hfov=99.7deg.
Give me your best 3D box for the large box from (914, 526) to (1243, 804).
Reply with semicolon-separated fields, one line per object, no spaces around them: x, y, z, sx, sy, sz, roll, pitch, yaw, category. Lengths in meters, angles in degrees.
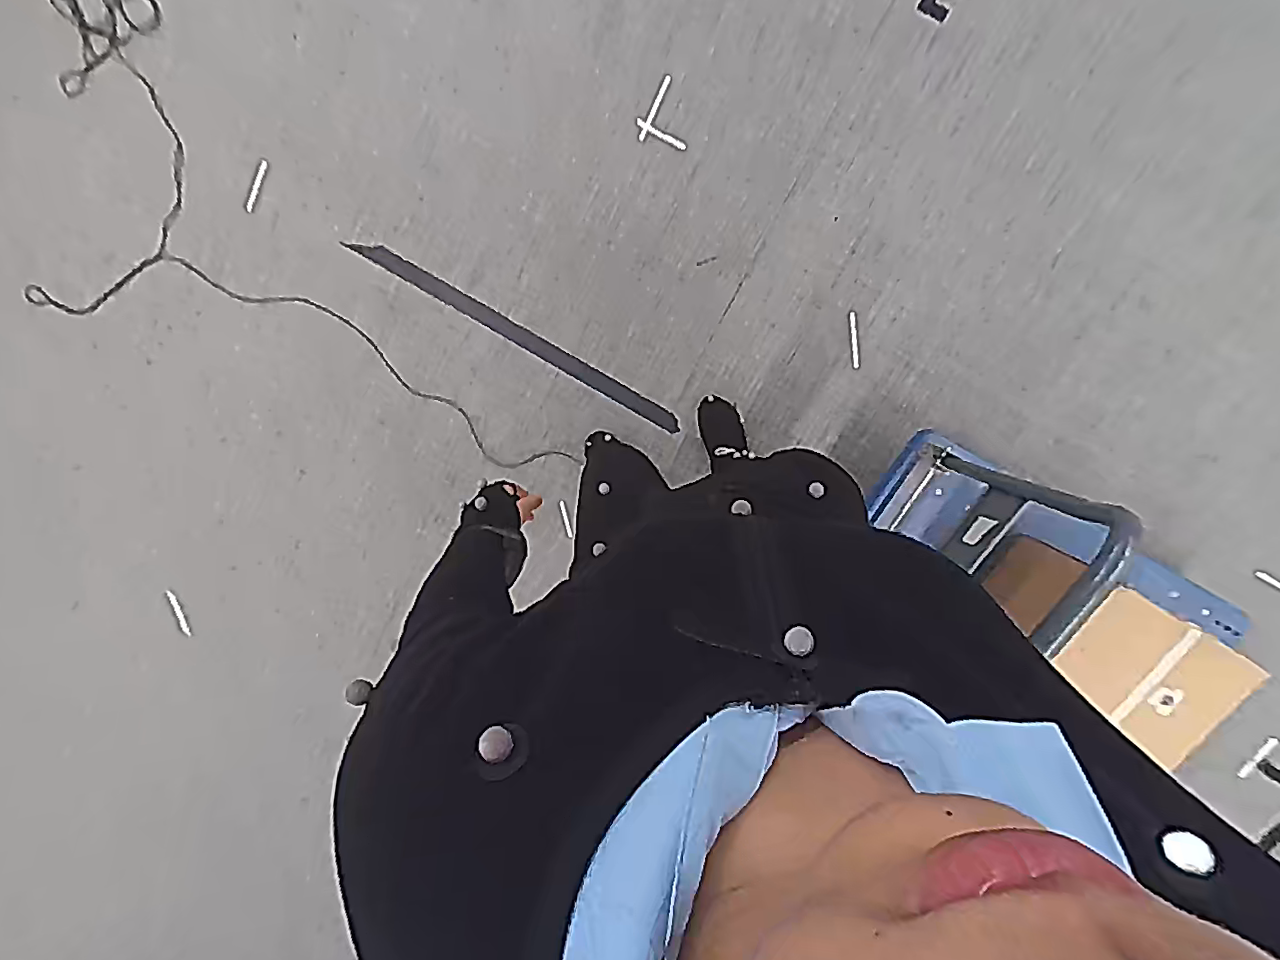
0.889;0.372;1.169;0.320;0.320;0.408;31;101;-1;large box
